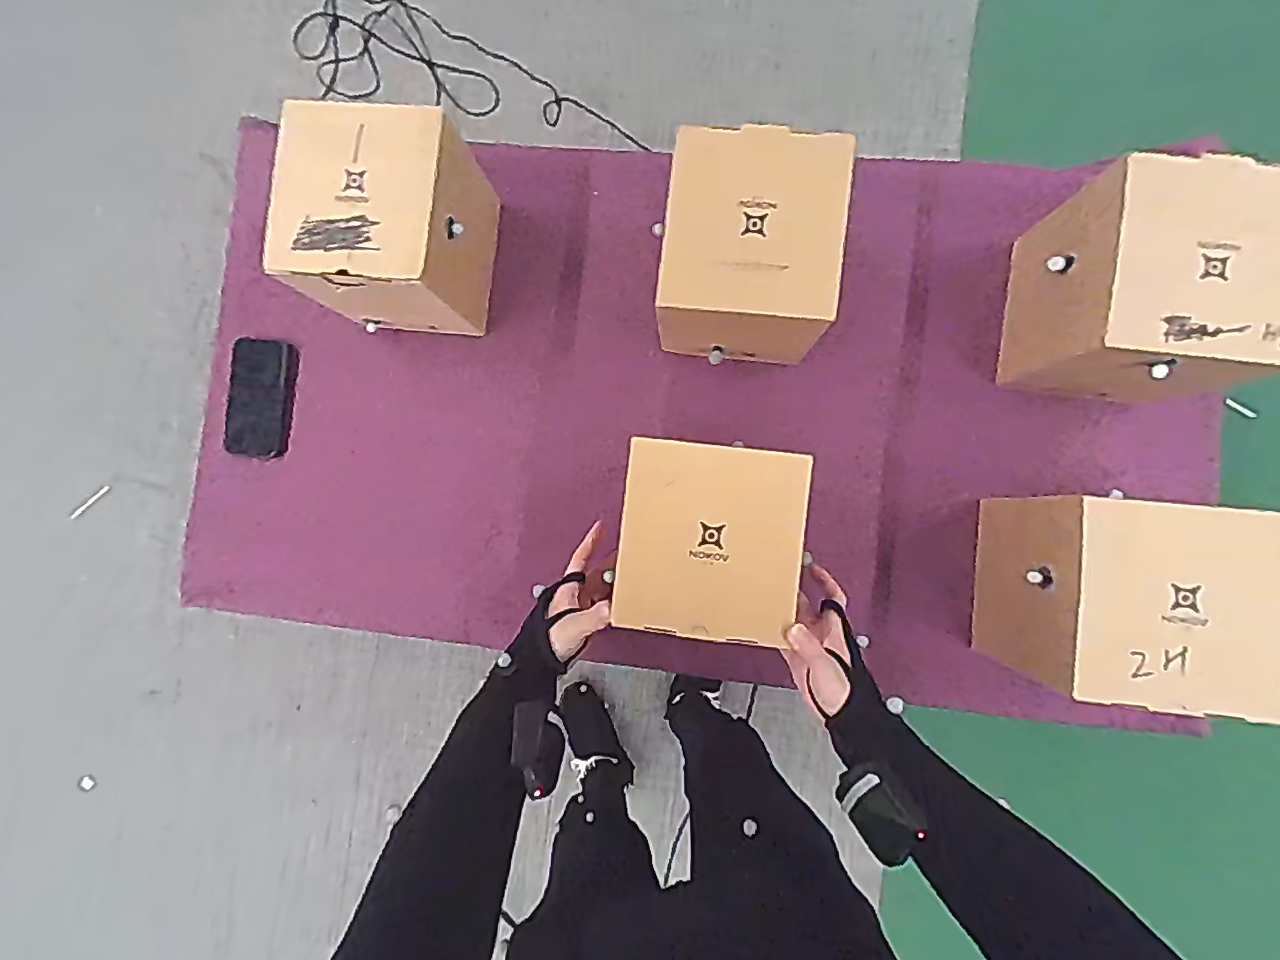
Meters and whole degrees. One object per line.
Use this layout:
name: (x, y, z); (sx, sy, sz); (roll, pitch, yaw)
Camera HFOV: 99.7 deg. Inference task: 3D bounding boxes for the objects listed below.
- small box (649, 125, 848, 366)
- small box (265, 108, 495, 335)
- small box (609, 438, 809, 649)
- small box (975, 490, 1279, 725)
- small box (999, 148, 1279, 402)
small box: (0.106, -0.234, 0.575); (0.168, 0.176, 0.179); (7, 89, 6)
small box: (-0.275, -0.274, 0.608); (0.168, 0.176, 0.179); (5, 88, 5)
small box: (0.067, 0.058, 0.565); (0.168, 0.176, 0.179); (6, 89, 5)
small box: (0.453, 0.107, 0.524); (0.168, 0.176, 0.179); (5, 88, 7)
small box: (0.492, -0.187, 0.537); (0.168, 0.176, 0.179); (8, 88, 6)
